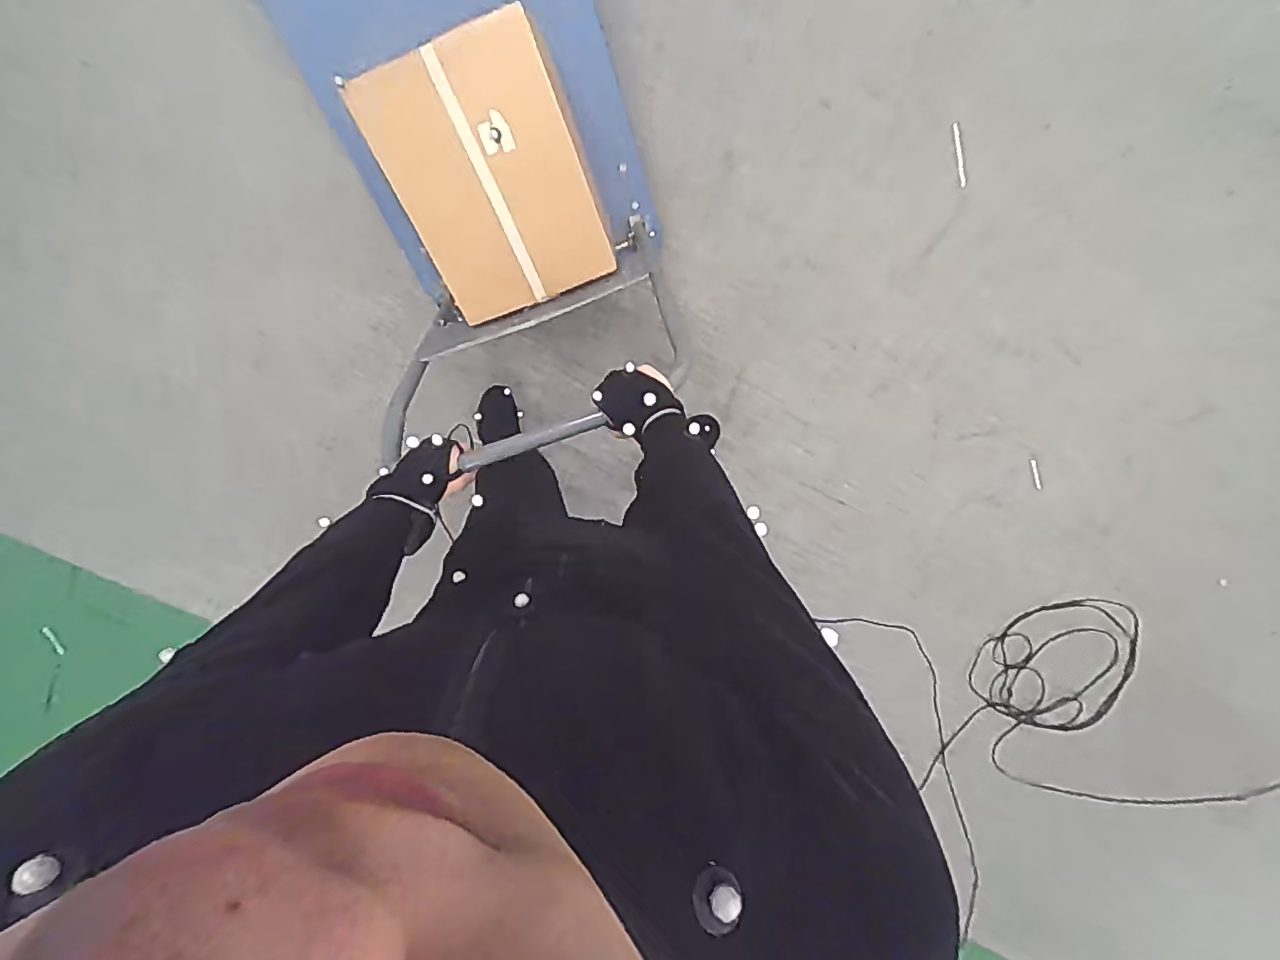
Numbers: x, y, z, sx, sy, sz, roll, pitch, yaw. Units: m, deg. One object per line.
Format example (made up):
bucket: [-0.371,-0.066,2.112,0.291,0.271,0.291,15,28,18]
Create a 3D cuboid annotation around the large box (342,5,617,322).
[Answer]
large box: [-0.260,-0.586,1.046,0.320,0.320,0.408,-19,124,8]
